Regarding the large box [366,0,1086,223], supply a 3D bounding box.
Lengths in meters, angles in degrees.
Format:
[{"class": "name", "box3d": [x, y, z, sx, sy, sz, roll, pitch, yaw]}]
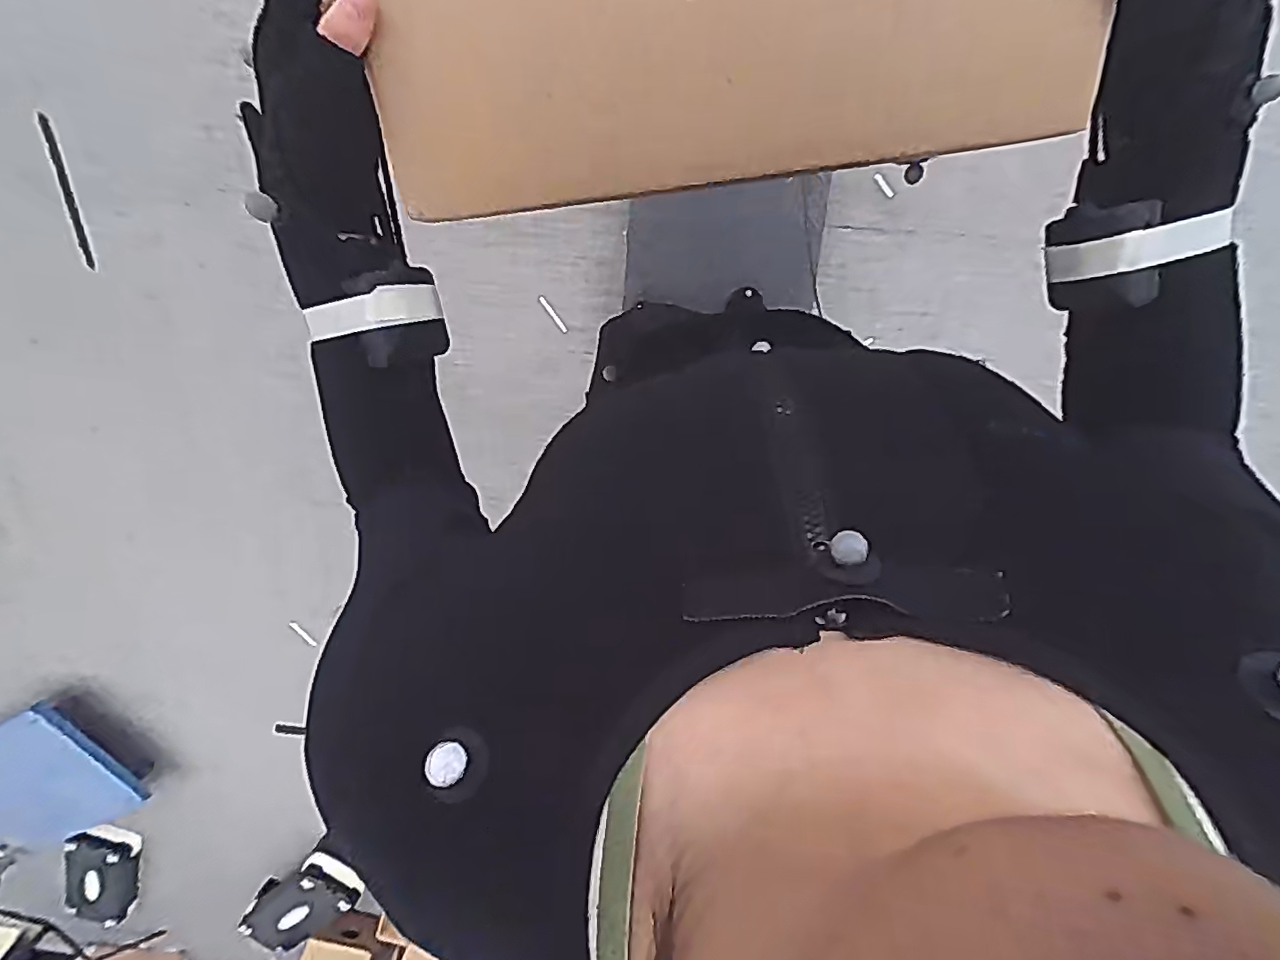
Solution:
[{"class": "large box", "box3d": [0.043, -0.396, 0.398, 0.408, 0.320, 0.320, -5, 118, 5]}]
